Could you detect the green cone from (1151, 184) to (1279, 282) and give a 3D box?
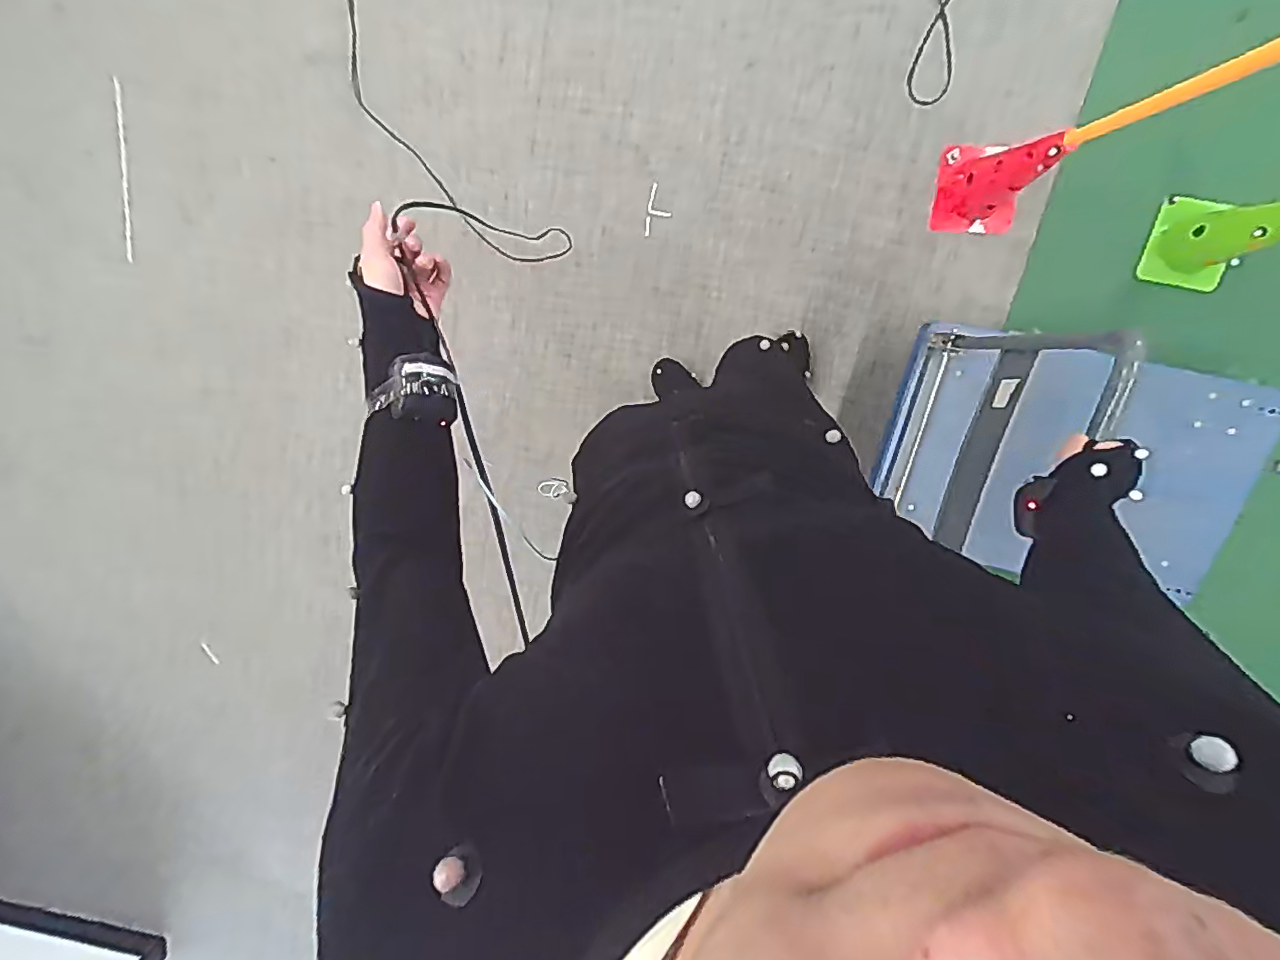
[{"bbox_3d":[1.368,-0.563,1.156,0.202,0.368,0.200,11,104,2],"label":"green cone"}]
